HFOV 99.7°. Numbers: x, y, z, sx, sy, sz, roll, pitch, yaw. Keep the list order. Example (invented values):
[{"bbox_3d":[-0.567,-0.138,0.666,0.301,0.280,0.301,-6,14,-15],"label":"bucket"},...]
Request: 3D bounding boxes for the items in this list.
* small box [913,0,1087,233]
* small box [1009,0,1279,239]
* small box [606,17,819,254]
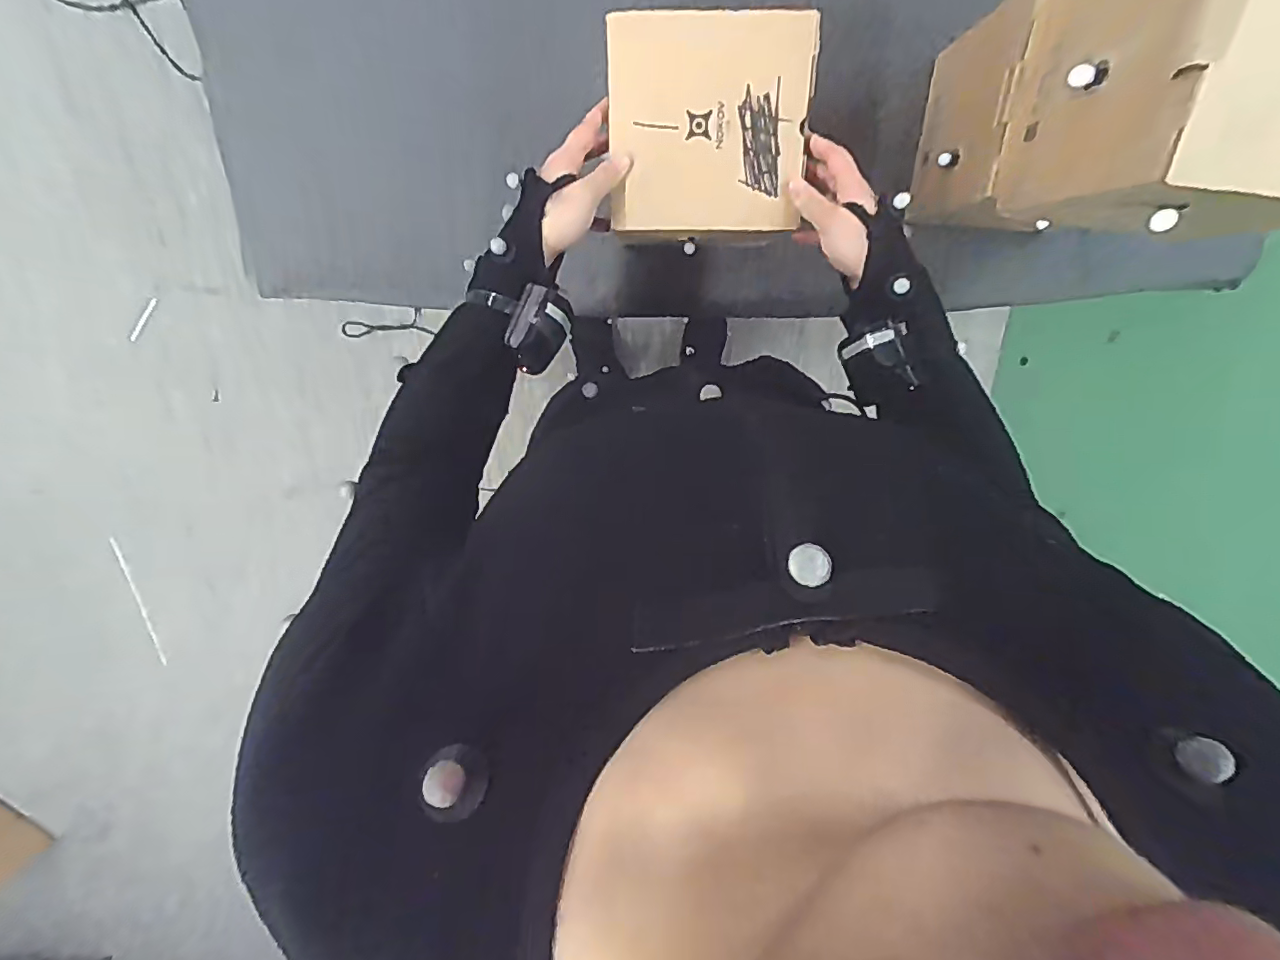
[{"bbox_3d":[0.399,-0.340,0.526,0.179,0.176,0.168,3,110,-1],"label":"small box"},{"bbox_3d":[0.408,-0.270,0.377,0.179,0.176,0.168,6,109,-1],"label":"small box"},{"bbox_3d":[0.060,-0.321,0.537,0.179,0.176,0.168,1,108,2],"label":"small box"}]
